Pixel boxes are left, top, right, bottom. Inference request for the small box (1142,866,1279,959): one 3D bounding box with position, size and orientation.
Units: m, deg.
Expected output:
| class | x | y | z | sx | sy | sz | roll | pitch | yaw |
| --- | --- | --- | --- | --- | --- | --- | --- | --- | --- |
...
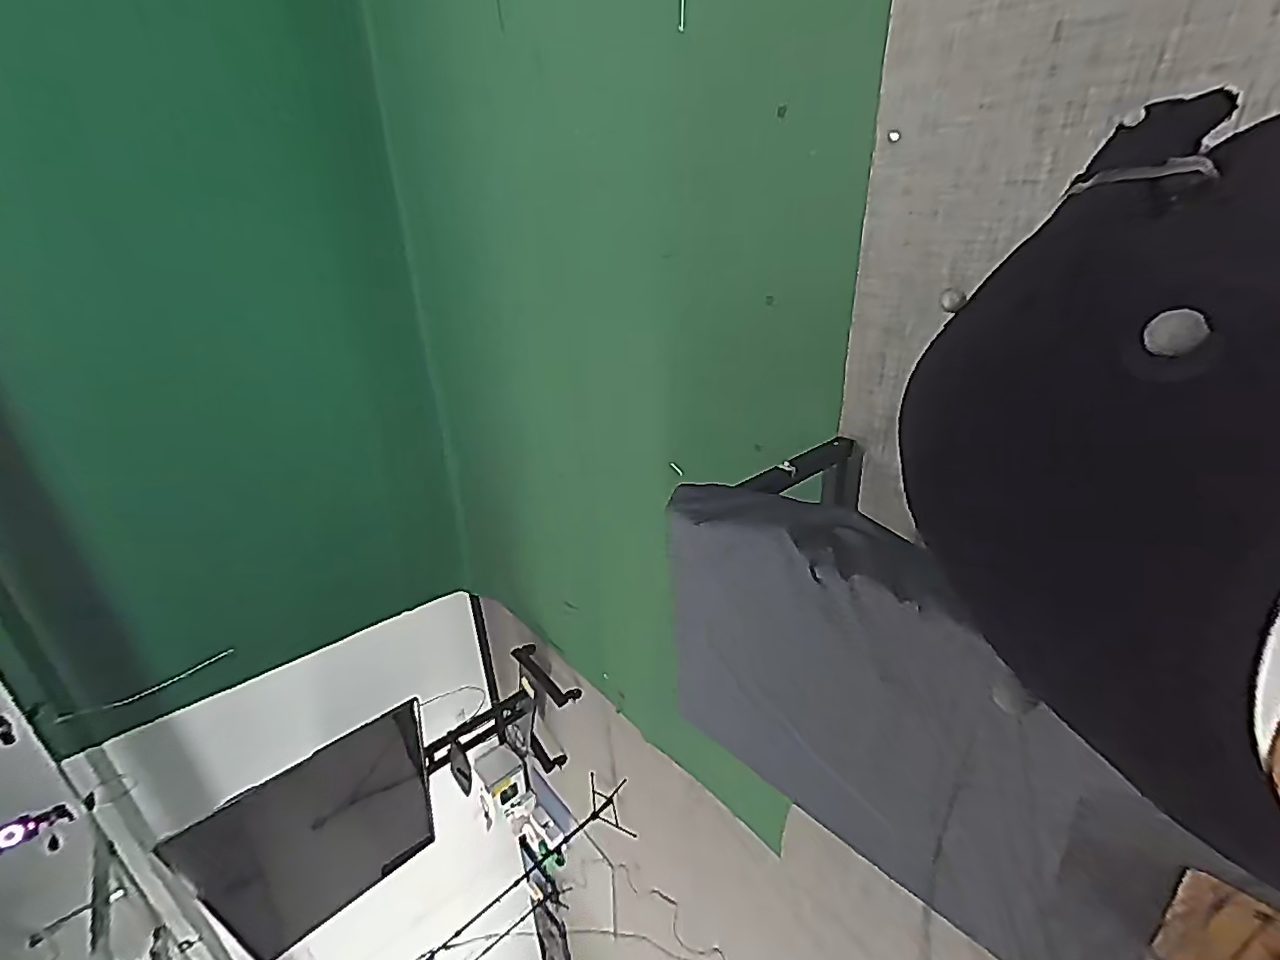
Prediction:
| class | x | y | z | sx | sy | sz | roll | pitch | yaw |
| --- | --- | --- | --- | --- | --- | --- | --- | --- | --- |
| small box | 0.671 | 0.585 | 0.592 | 0.168 | 0.176 | 0.179 | 20 | 121 | 46 |
